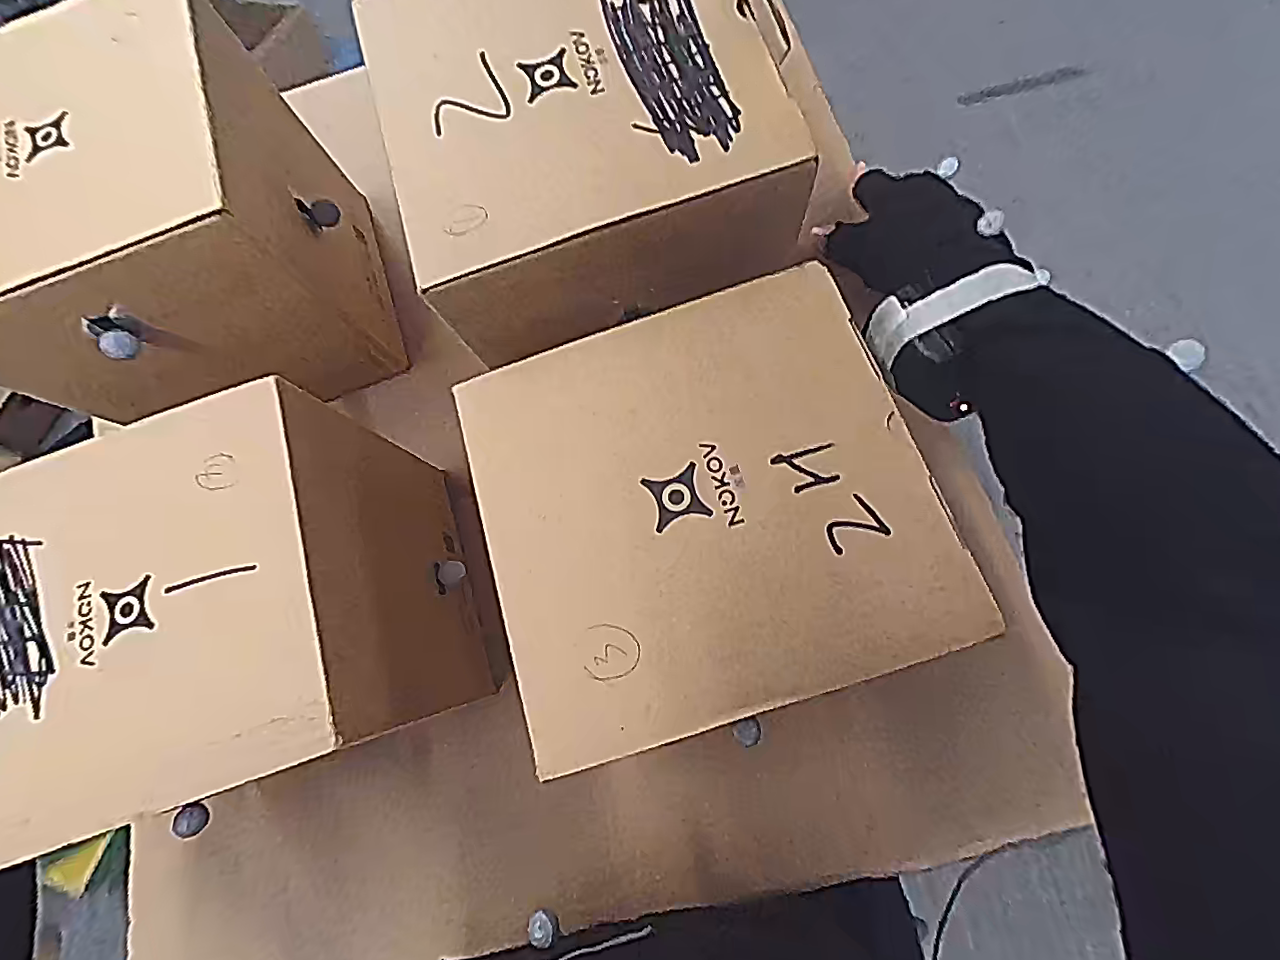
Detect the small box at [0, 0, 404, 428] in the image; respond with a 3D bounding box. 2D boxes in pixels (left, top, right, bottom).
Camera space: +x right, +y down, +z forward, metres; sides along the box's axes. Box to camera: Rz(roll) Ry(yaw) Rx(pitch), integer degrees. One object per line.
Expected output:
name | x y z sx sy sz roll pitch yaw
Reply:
small box | -0.276 -0.154 0.348 0.179 0.176 0.168 -19 76 3
